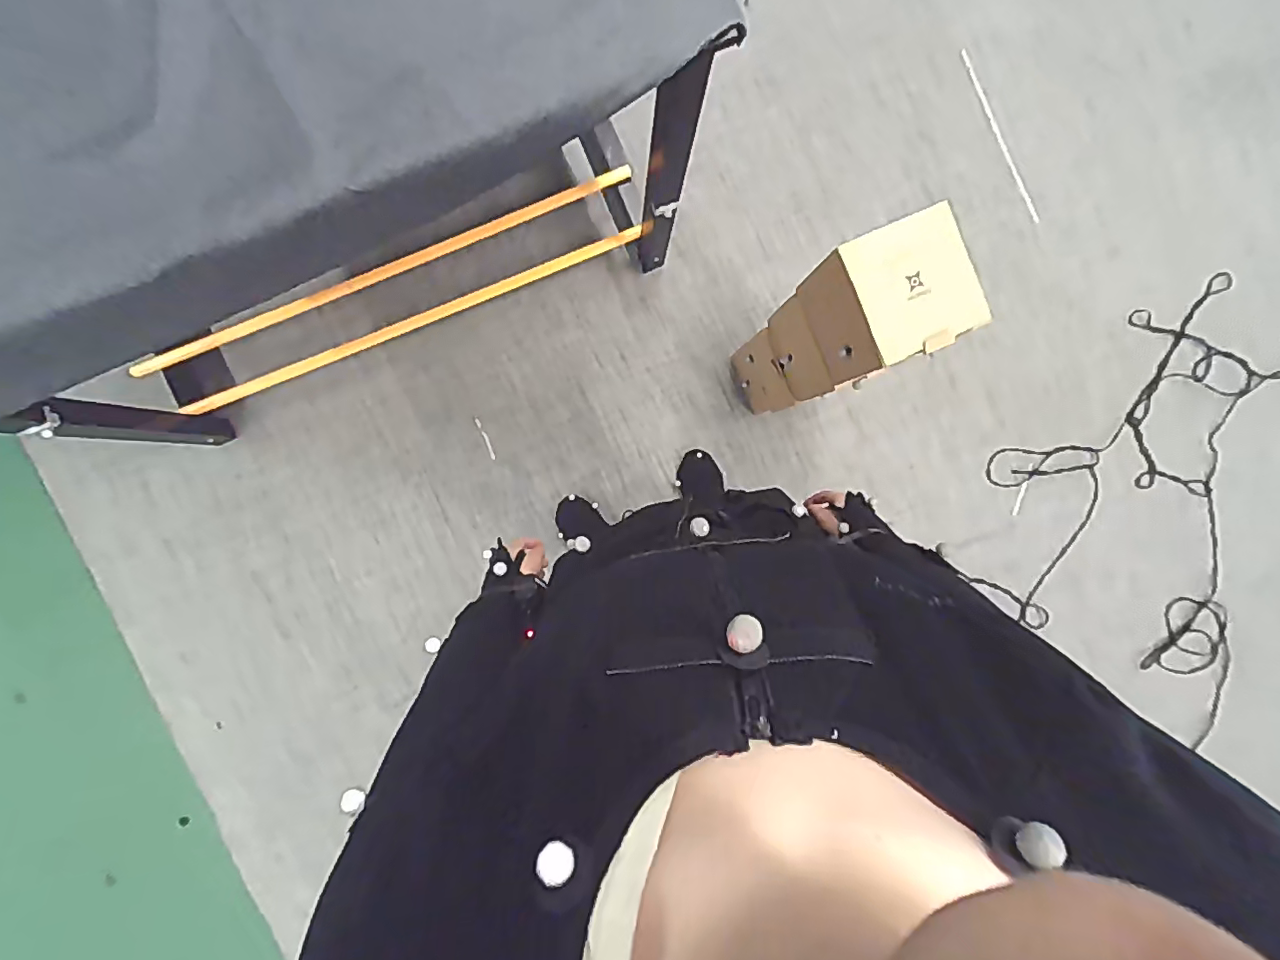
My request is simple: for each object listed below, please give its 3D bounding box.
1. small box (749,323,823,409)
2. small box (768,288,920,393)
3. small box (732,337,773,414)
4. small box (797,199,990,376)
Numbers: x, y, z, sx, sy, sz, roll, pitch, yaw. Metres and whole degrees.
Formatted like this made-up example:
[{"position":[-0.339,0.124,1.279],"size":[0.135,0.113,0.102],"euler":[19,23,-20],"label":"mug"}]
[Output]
[{"position":[0.342,-0.260,1.125],"size":[0.179,0.176,0.168],"euler":[-25,92,-3],"label":"small box"},{"position":[0.352,-0.264,0.961],"size":[0.168,0.176,0.179],"euler":[-24,93,-3],"label":"small box"},{"position":[0.343,-0.271,1.289],"size":[0.179,0.176,0.168],"euler":[-23,91,-3],"label":"small box"},{"position":[0.360,-0.267,0.799],"size":[0.168,0.176,0.179],"euler":[-25,91,-3],"label":"small box"}]
